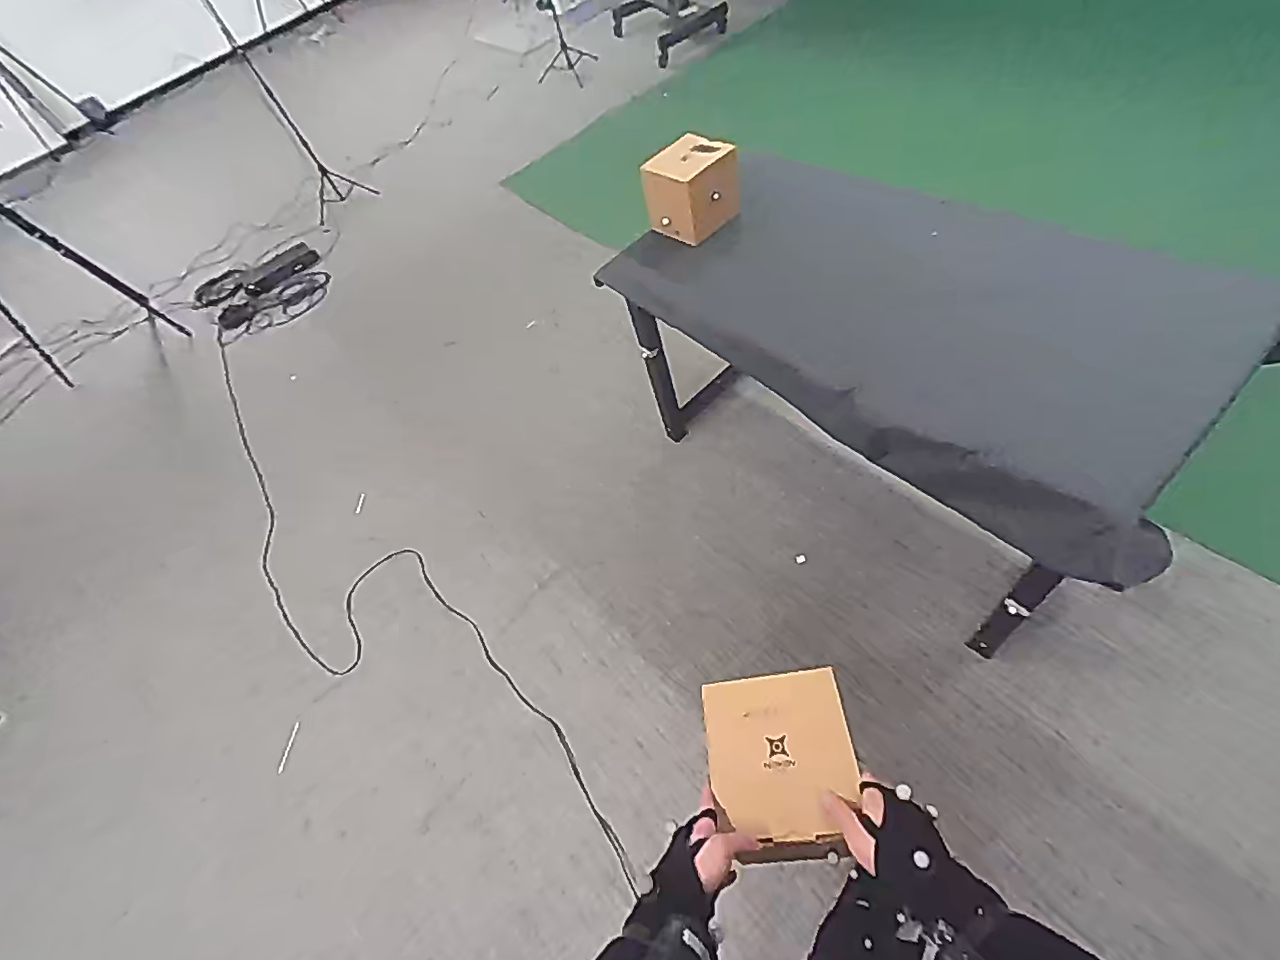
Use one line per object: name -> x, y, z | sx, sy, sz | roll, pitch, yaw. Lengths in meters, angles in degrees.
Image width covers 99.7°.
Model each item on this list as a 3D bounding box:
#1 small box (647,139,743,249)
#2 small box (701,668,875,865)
small box -> 0.144, -0.723, 1.369 | 0.179, 0.176, 0.168 | -42, 55, -15
small box -> 0.178, 0.357, 0.663 | 0.168, 0.176, 0.179 | -12, 45, 10
